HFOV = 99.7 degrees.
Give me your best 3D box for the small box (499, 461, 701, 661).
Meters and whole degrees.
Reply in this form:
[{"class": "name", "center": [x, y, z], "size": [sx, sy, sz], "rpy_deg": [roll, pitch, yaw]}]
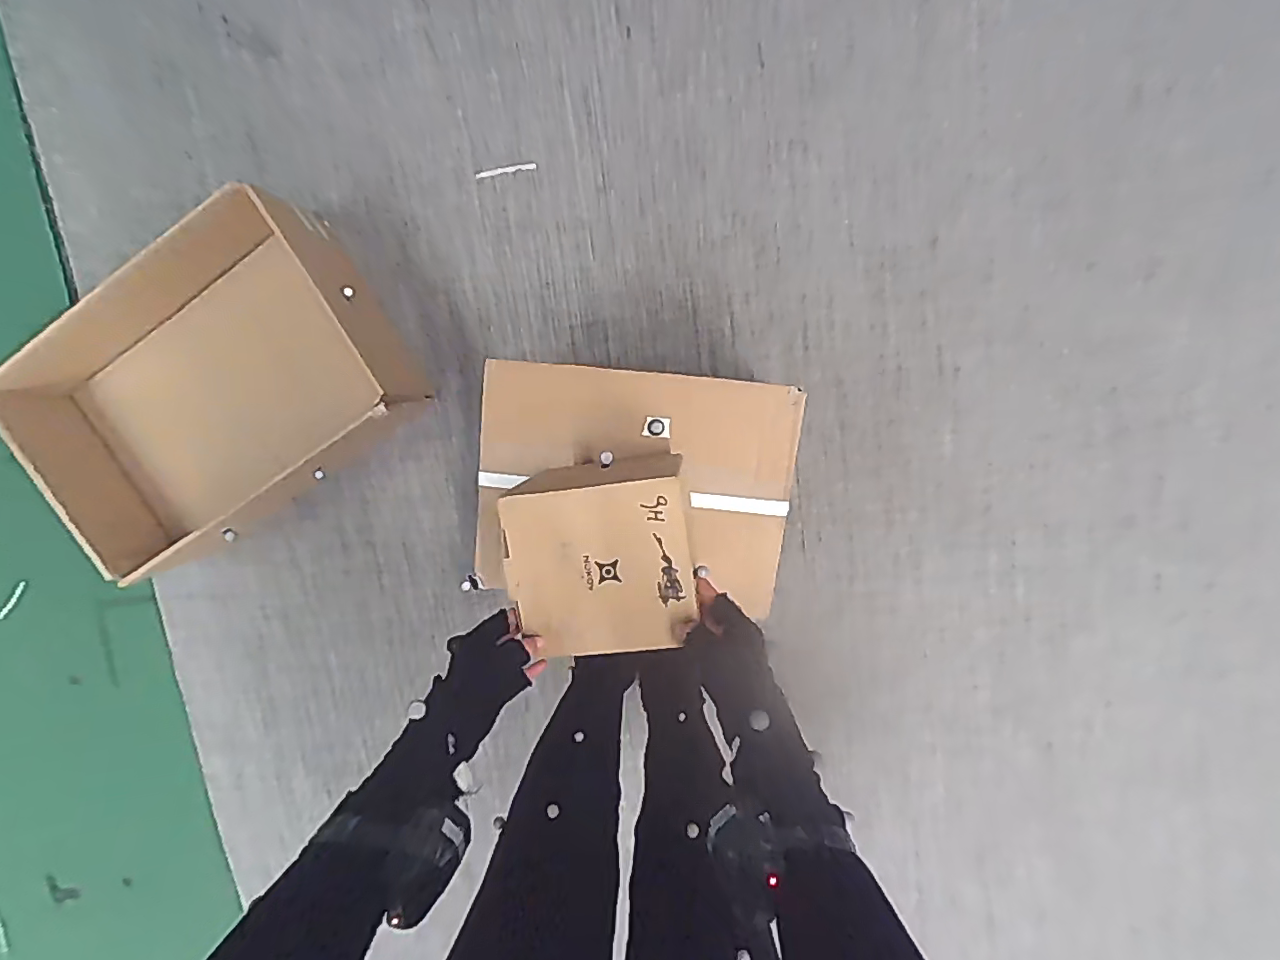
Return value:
[{"class": "small box", "center": [-0.029, 0.077, 0.587], "size": [0.179, 0.176, 0.168], "rpy_deg": [-7, 99, 8]}]
